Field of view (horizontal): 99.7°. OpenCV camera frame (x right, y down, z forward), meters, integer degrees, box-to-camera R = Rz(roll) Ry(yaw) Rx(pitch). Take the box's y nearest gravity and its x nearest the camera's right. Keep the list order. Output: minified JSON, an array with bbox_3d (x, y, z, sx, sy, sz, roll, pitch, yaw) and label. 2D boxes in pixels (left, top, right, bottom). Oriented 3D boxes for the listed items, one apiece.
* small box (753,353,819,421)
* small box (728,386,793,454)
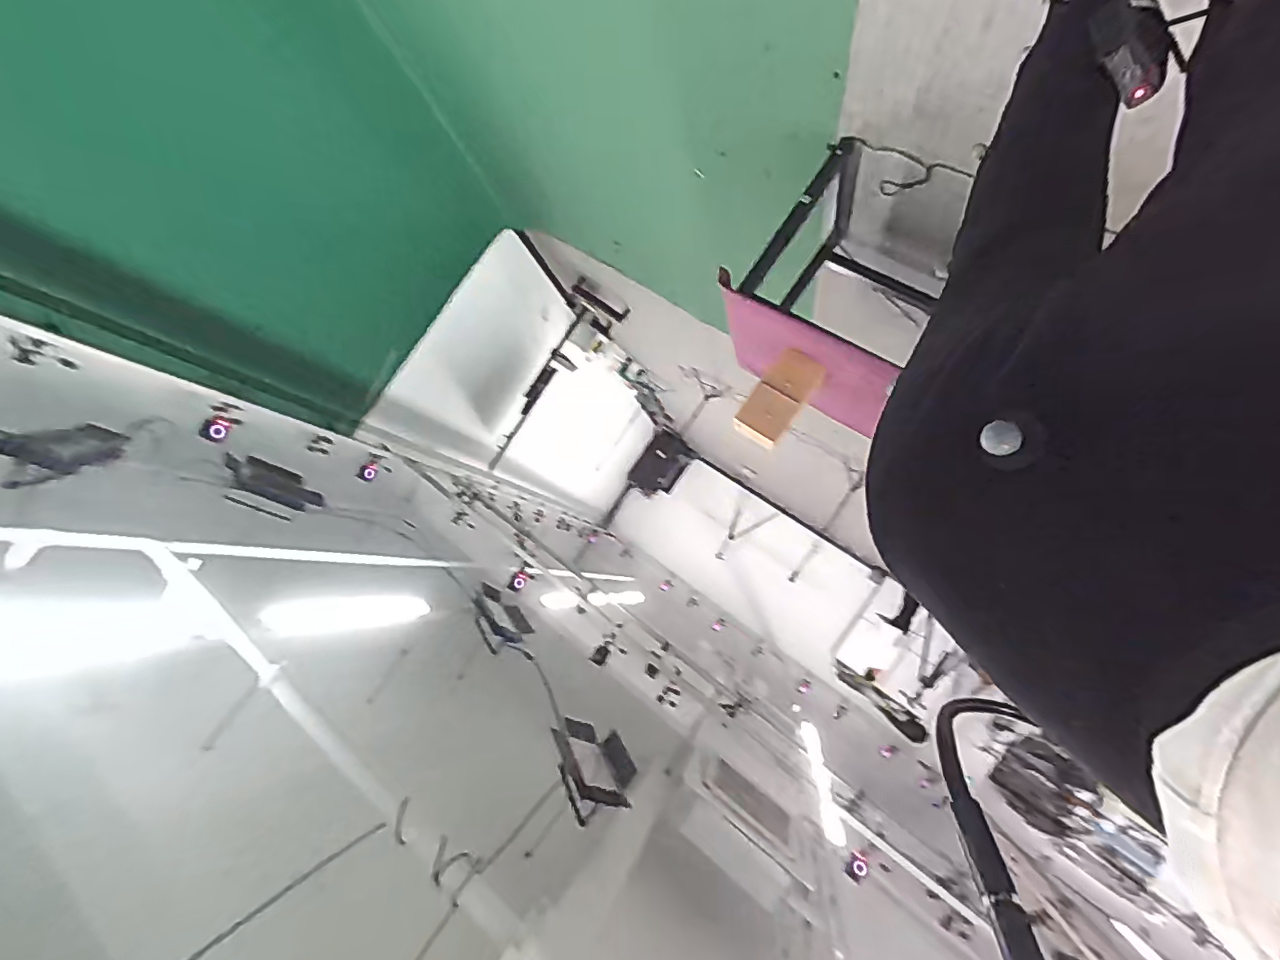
[{"bbox_3d":[0.540,-0.355,2.025,0.179,0.176,0.168,33,177,13],"label":"small box"},{"bbox_3d":[0.445,-0.222,2.007,0.179,0.176,0.168,33,176,12],"label":"small box"}]
